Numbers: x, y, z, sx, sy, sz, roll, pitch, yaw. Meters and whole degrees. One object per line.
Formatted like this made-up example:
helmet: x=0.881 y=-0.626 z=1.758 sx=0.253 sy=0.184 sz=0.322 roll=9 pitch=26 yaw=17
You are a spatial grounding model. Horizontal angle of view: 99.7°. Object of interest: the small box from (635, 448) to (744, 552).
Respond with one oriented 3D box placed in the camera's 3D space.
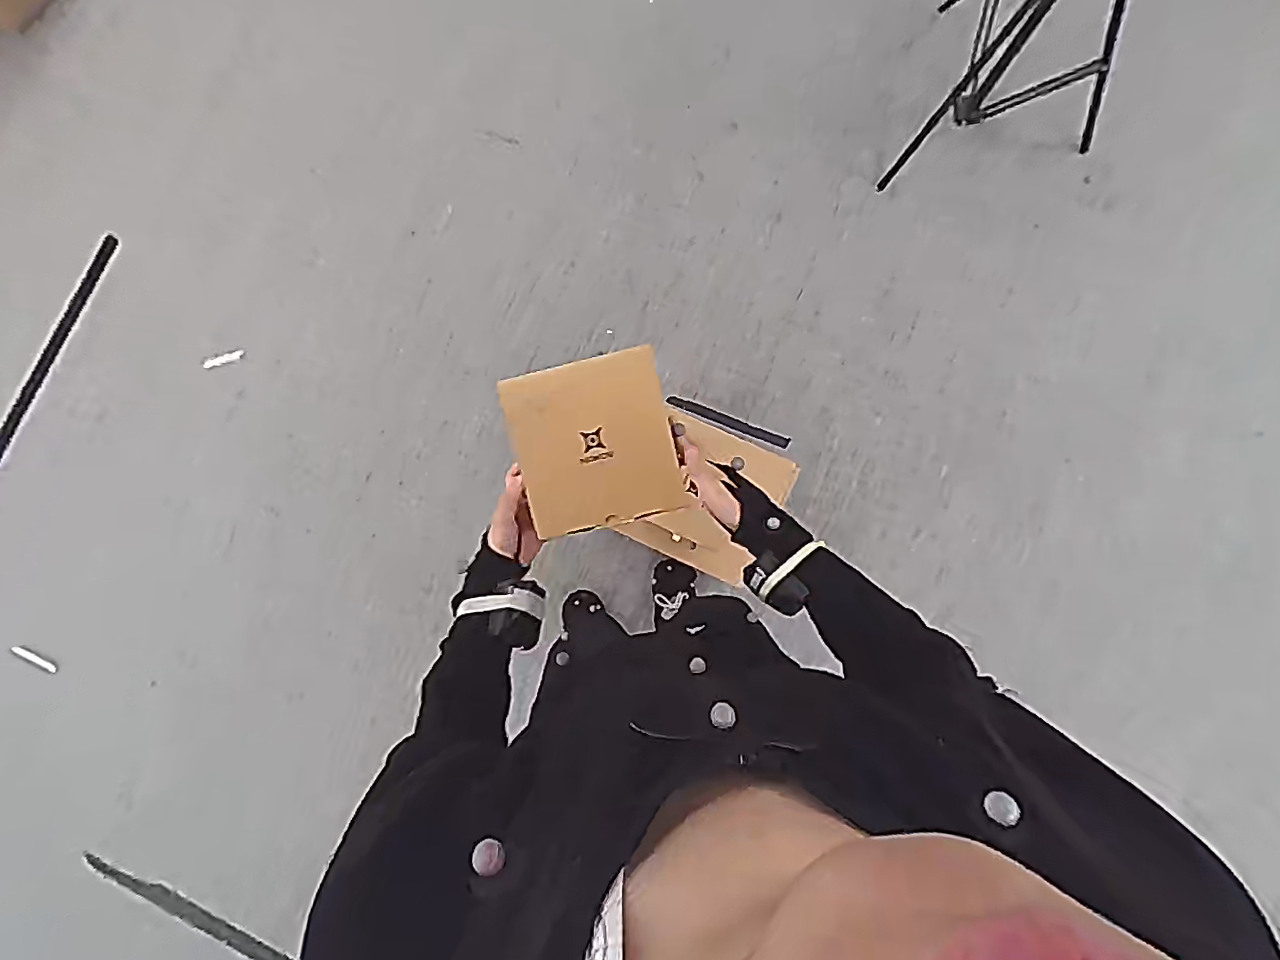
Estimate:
small box: x=0.102 y=0.045 z=1.136 sx=0.179 sy=0.176 sz=0.168 roll=19 pitch=87 yaw=5
